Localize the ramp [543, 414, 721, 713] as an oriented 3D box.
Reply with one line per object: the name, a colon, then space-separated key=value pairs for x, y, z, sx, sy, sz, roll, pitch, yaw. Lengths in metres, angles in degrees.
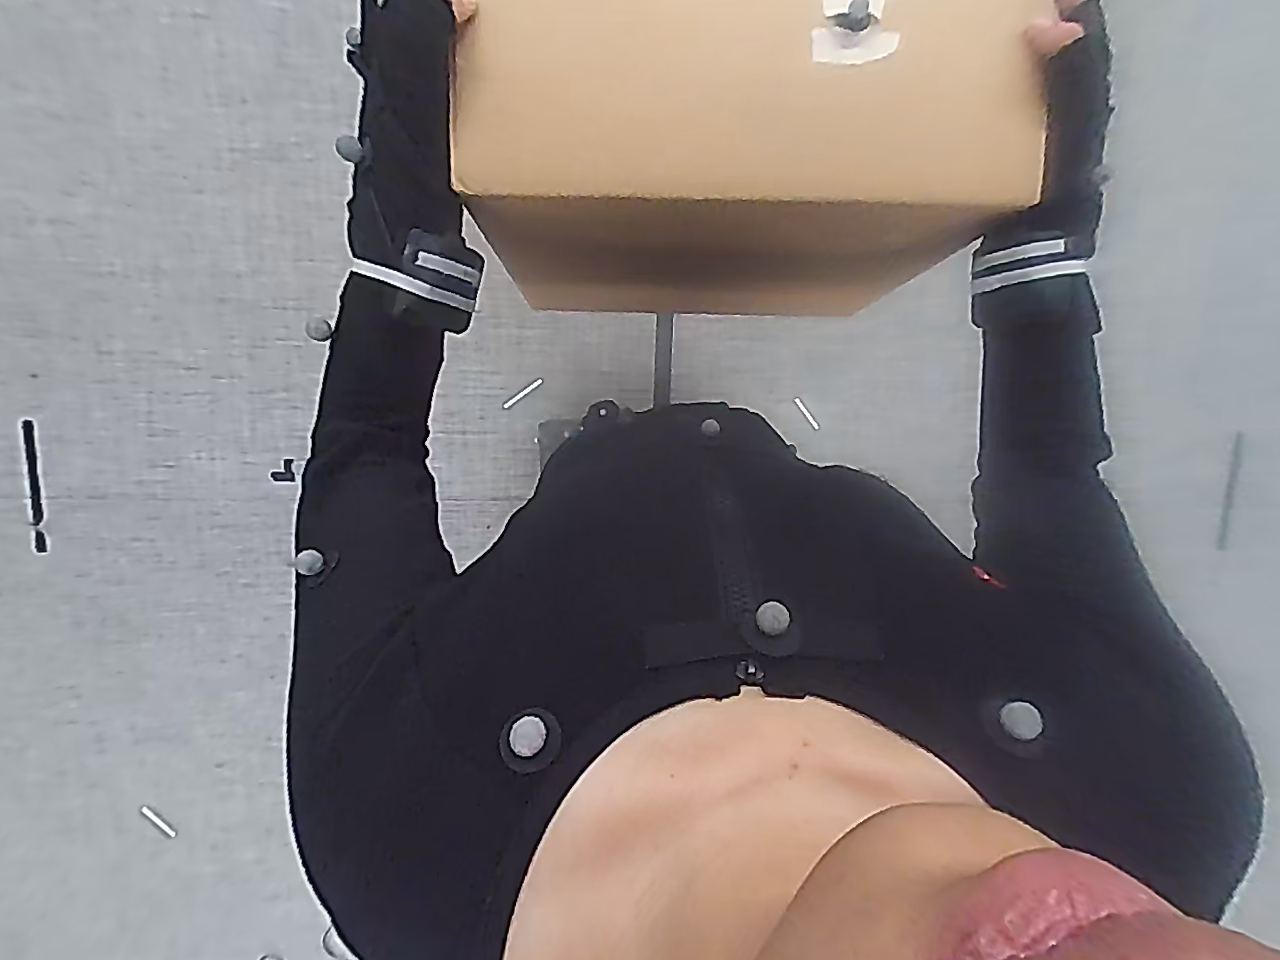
ramp: x=-0.026 y=0.294 z=1.627 sx=0.509 sy=0.206 sz=0.991 roll=-1 pitch=99 yaw=-3

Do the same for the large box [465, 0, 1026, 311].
large box: x=0.070 y=-0.362 z=0.528 sx=0.408 sy=0.320 sz=0.320 roll=0 pitch=93 yaw=-2
